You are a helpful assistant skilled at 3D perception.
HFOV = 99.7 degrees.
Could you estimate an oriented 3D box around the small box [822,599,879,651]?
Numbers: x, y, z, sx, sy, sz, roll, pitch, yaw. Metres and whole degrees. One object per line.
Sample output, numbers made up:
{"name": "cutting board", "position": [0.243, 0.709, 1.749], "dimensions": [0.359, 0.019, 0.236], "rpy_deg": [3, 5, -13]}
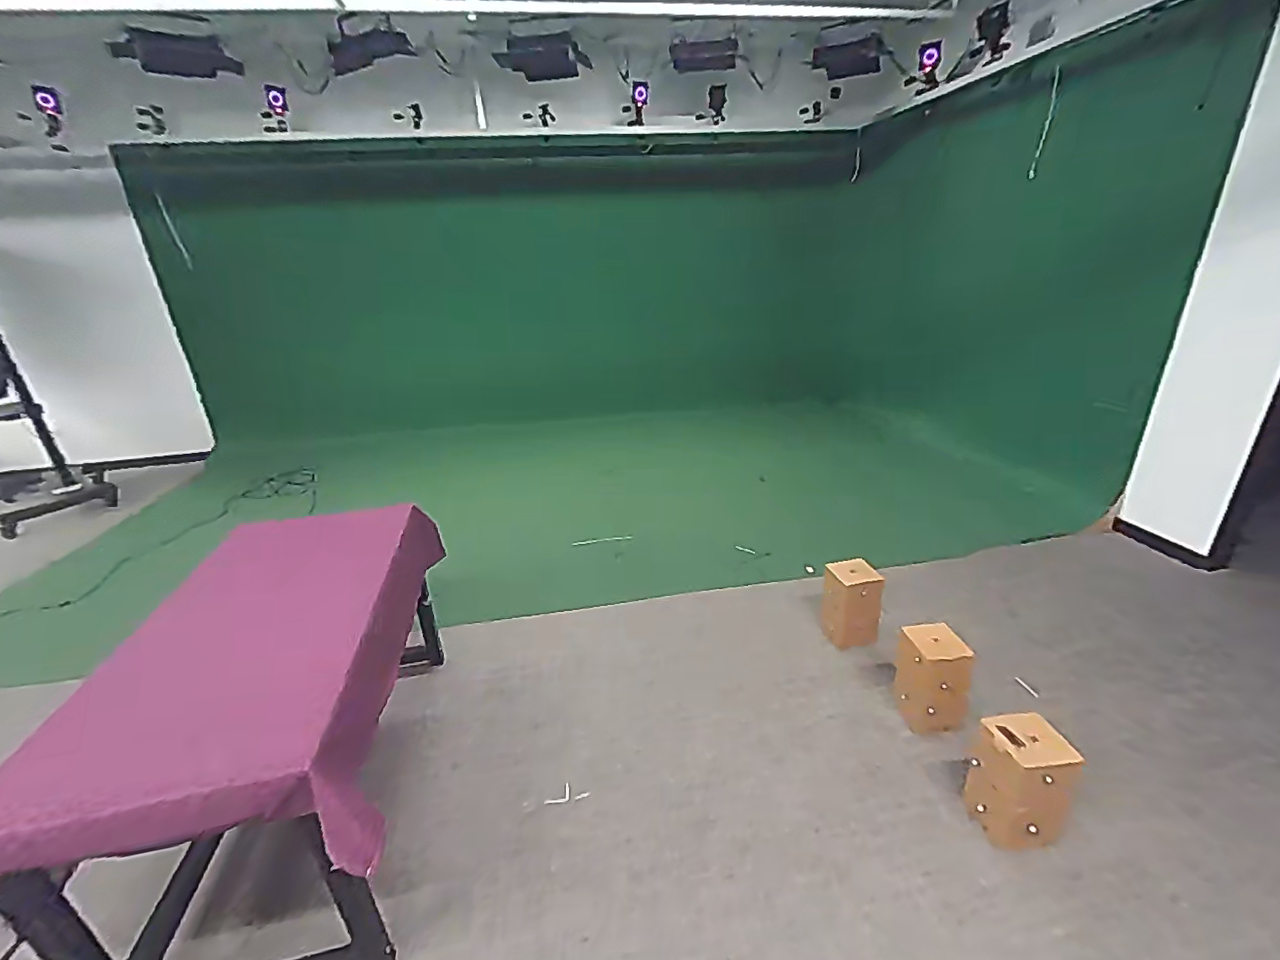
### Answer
{"name": "small box", "position": [0.898, 0.616, 2.327], "dimensions": [0.179, 0.176, 0.168], "rpy_deg": [-6, 23, -9]}

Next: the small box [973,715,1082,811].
{"name": "small box", "position": [1.051, 0.778, 1.485], "dimensions": [0.179, 0.176, 0.168], "rpy_deg": [-4, 23, -4]}

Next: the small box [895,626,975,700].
{"name": "small box", "position": [1.004, 0.627, 1.858], "dimensions": [0.168, 0.176, 0.179], "rpy_deg": [-4, 23, -4]}

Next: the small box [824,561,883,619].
{"name": "small box", "position": [0.887, 0.464, 2.265], "dimensions": [0.179, 0.176, 0.168], "rpy_deg": [-7, 24, -10]}

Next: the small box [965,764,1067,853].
{"name": "small box", "position": [1.063, 0.930, 1.547], "dimensions": [0.179, 0.176, 0.168], "rpy_deg": [-6, 23, -5]}
